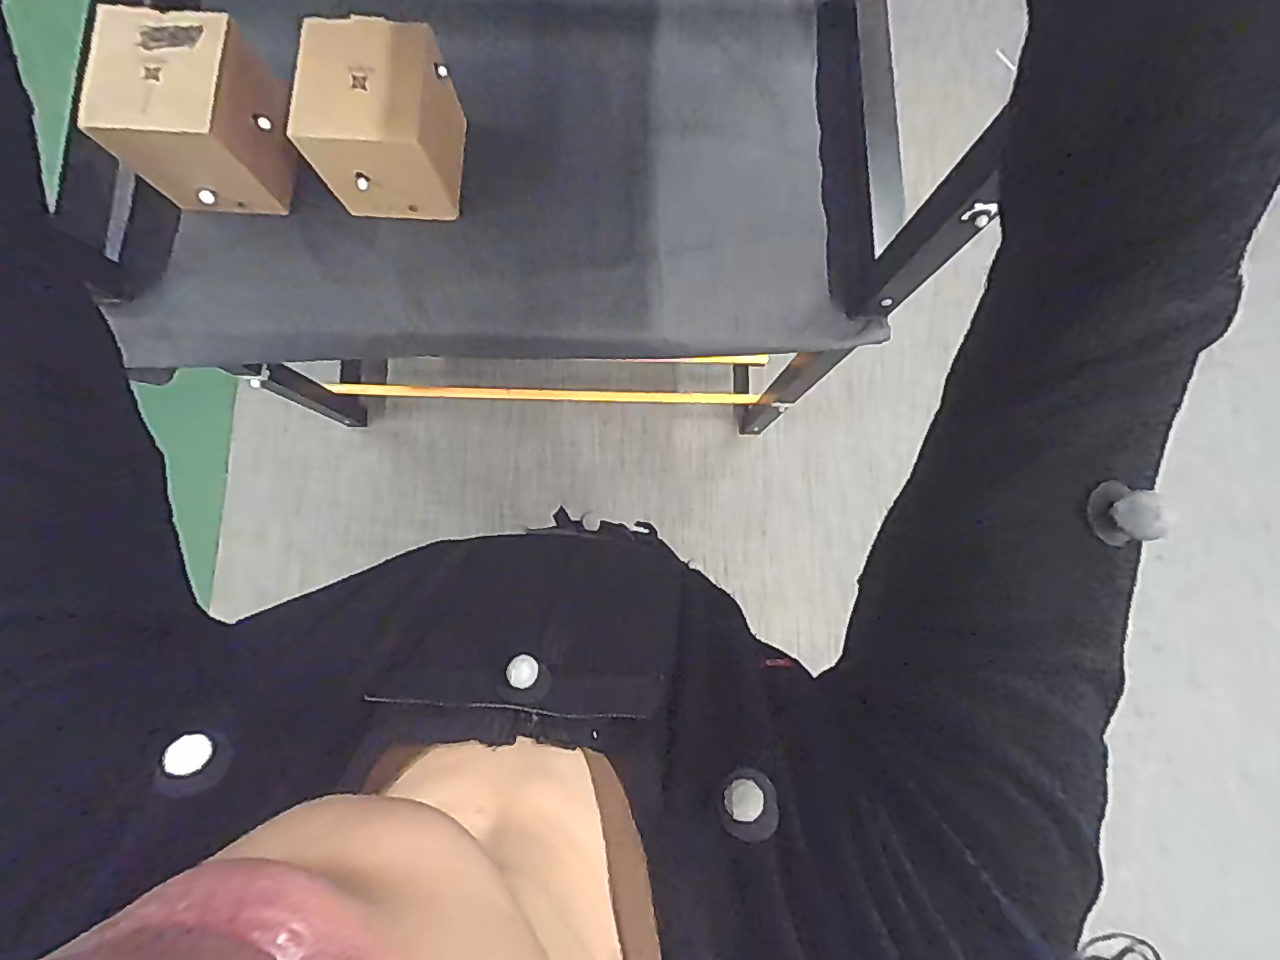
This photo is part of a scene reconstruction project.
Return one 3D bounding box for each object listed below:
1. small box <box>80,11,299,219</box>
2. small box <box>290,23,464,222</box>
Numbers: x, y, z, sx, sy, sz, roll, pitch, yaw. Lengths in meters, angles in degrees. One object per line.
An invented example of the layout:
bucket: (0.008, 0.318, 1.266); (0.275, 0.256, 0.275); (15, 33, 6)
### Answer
small box: (-0.614, -0.504, 0.766); (0.168, 0.176, 0.179); (2, 82, -1)
small box: (-0.362, -0.498, 0.776); (0.168, 0.176, 0.179); (2, 81, -2)
